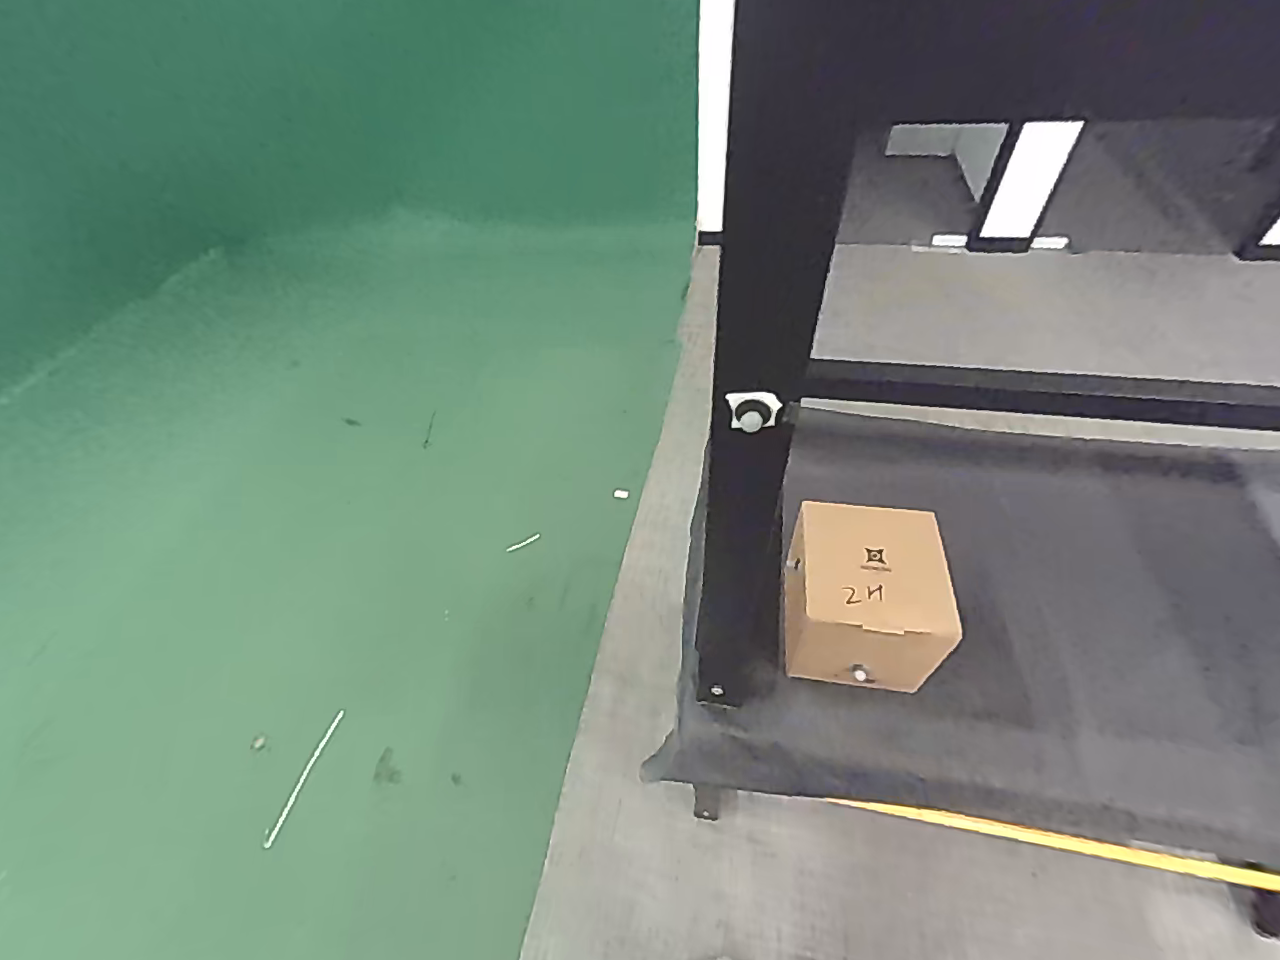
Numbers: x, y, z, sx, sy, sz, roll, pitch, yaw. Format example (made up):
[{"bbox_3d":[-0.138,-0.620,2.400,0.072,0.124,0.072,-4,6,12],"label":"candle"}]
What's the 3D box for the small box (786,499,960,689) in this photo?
[{"bbox_3d":[0.287,0.150,0.713,0.168,0.176,0.179,5,50,9],"label":"small box"}]
